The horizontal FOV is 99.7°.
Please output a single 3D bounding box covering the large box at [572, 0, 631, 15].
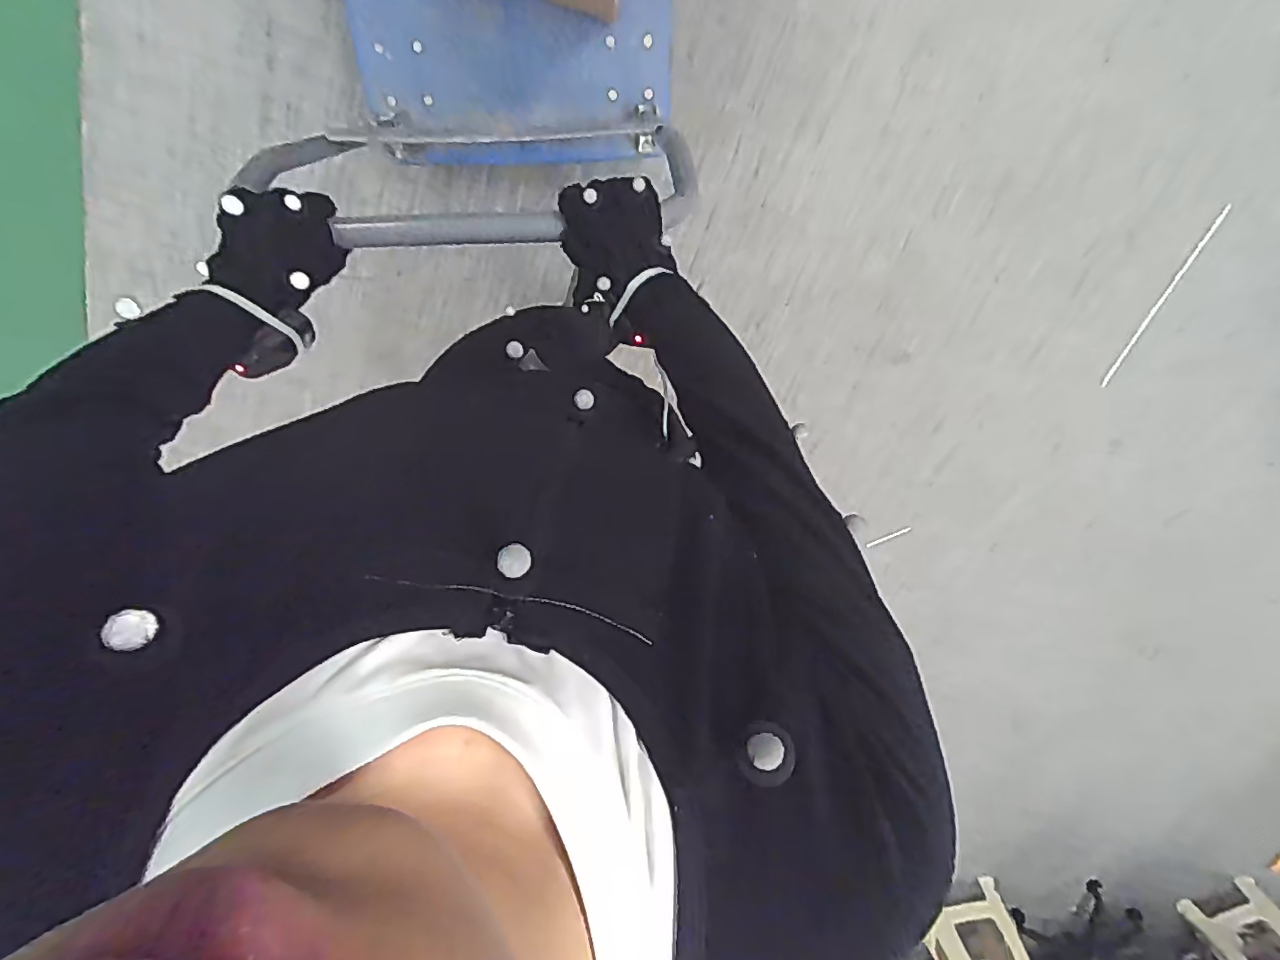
[{"bbox_3d":[-0.178,-0.904,0.739,0.408,0.320,0.320,12,123,-9],"label":"large box"}]
